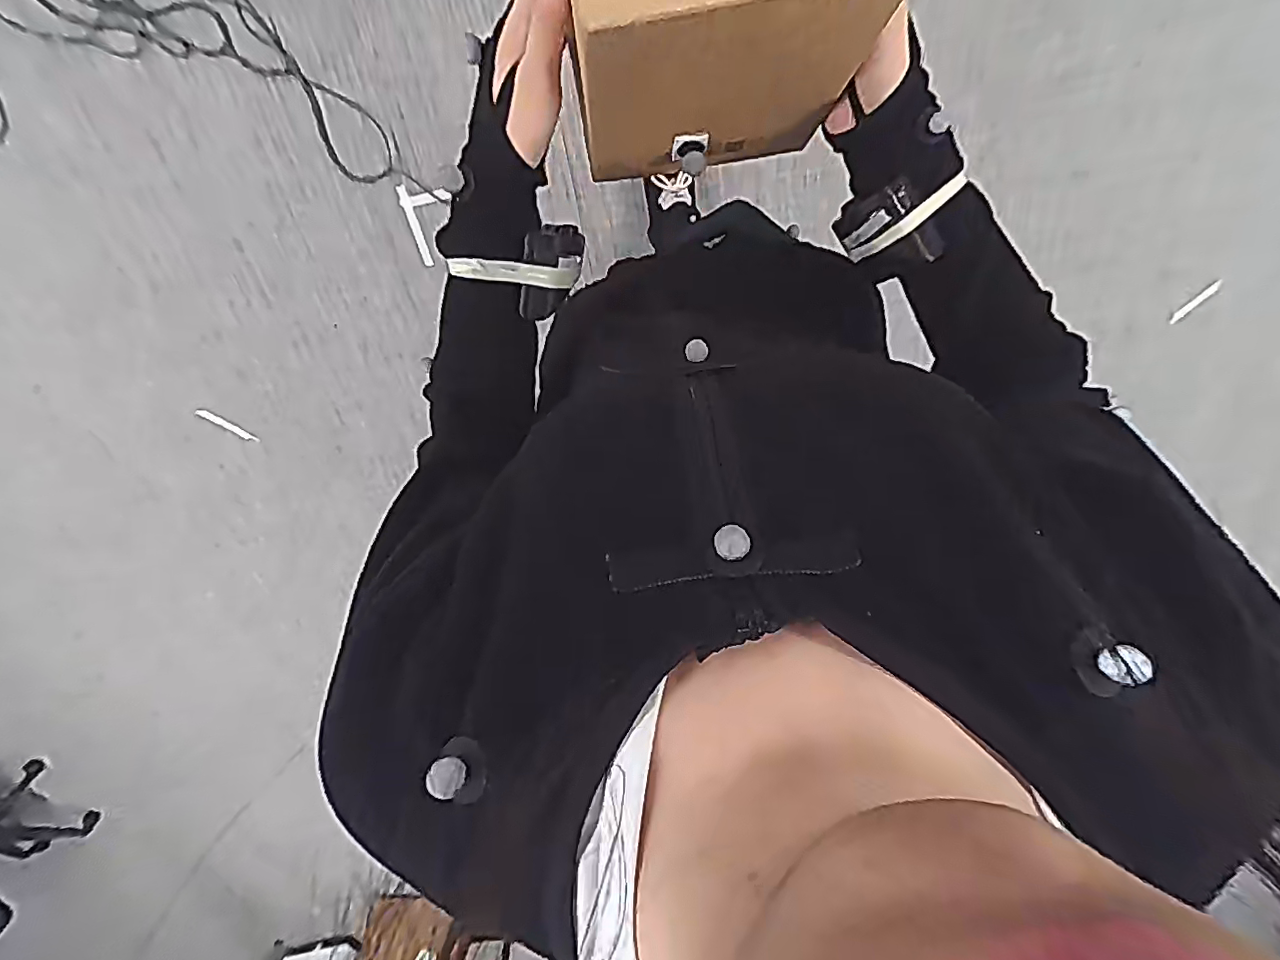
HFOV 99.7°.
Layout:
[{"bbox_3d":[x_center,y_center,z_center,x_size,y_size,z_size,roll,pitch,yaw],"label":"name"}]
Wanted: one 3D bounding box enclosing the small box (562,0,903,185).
[{"bbox_3d":[0.036,-0.316,0.328,0.168,0.176,0.179,-11,96,-1],"label":"small box"}]
